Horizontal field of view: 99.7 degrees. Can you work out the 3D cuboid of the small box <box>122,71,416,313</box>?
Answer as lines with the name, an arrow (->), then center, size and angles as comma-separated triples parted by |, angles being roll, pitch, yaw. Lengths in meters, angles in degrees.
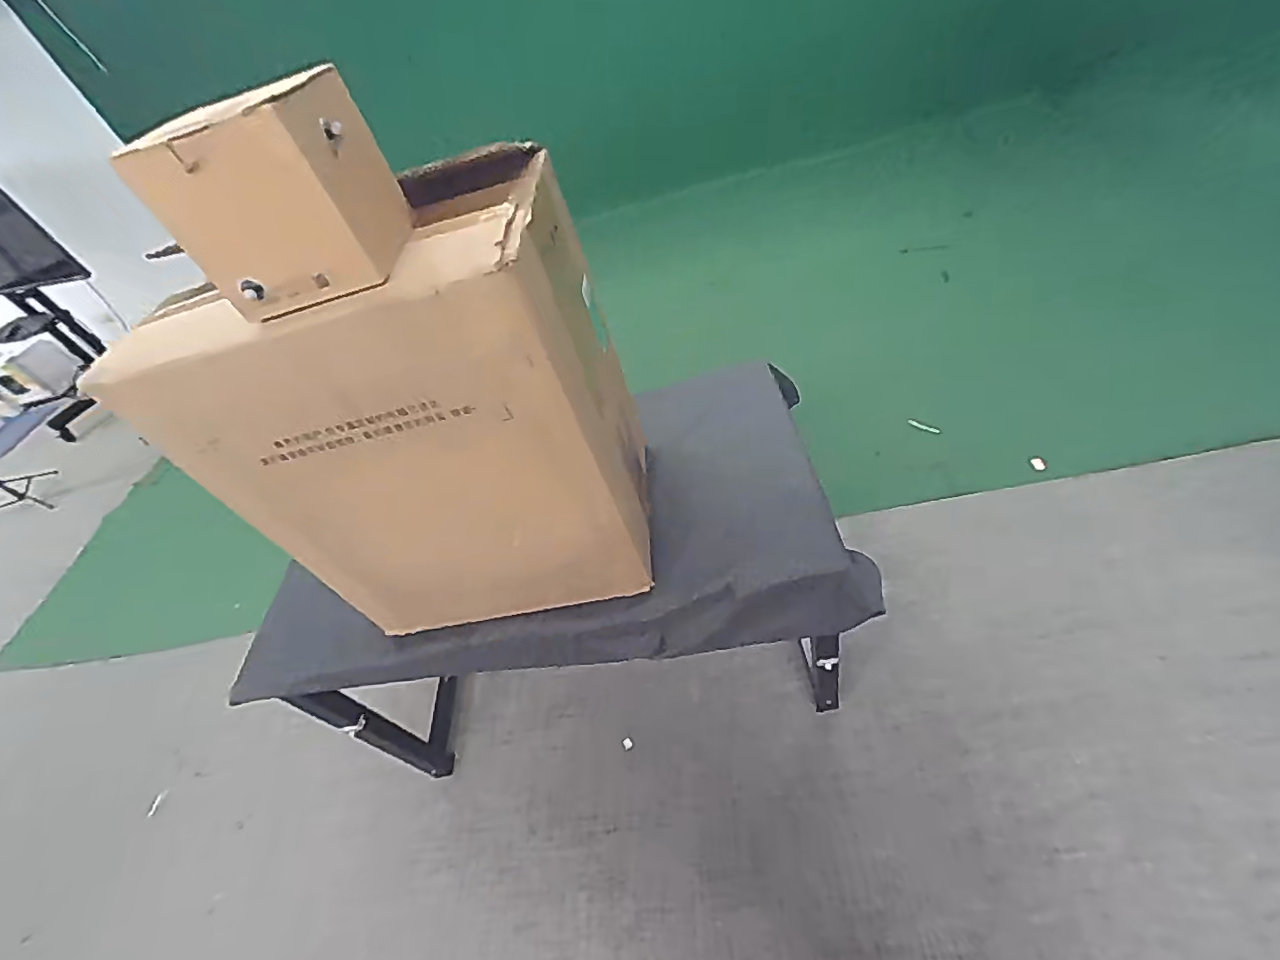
small box -> -0.369, -0.299, 0.583 | 0.168, 0.176, 0.179 | -13, 45, 7
